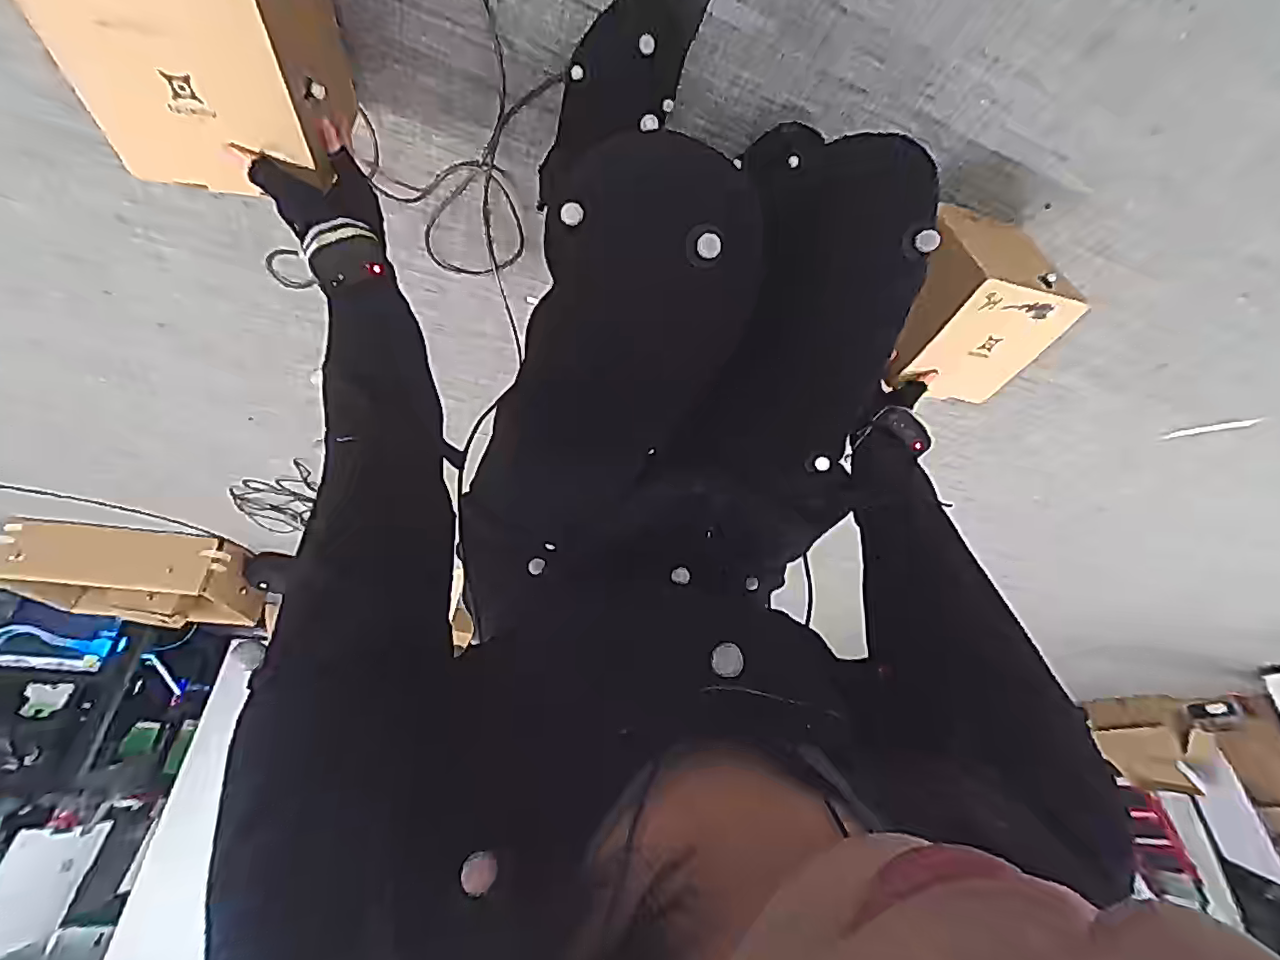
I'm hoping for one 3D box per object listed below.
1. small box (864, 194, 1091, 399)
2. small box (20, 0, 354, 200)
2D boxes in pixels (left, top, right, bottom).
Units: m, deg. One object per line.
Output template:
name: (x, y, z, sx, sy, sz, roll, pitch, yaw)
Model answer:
small box: (0.425, -0.238, 0.721, 0.168, 0.176, 0.179, 7, 145, -16)
small box: (-0.376, -0.389, 0.481, 0.168, 0.176, 0.179, 1, 150, -10)
